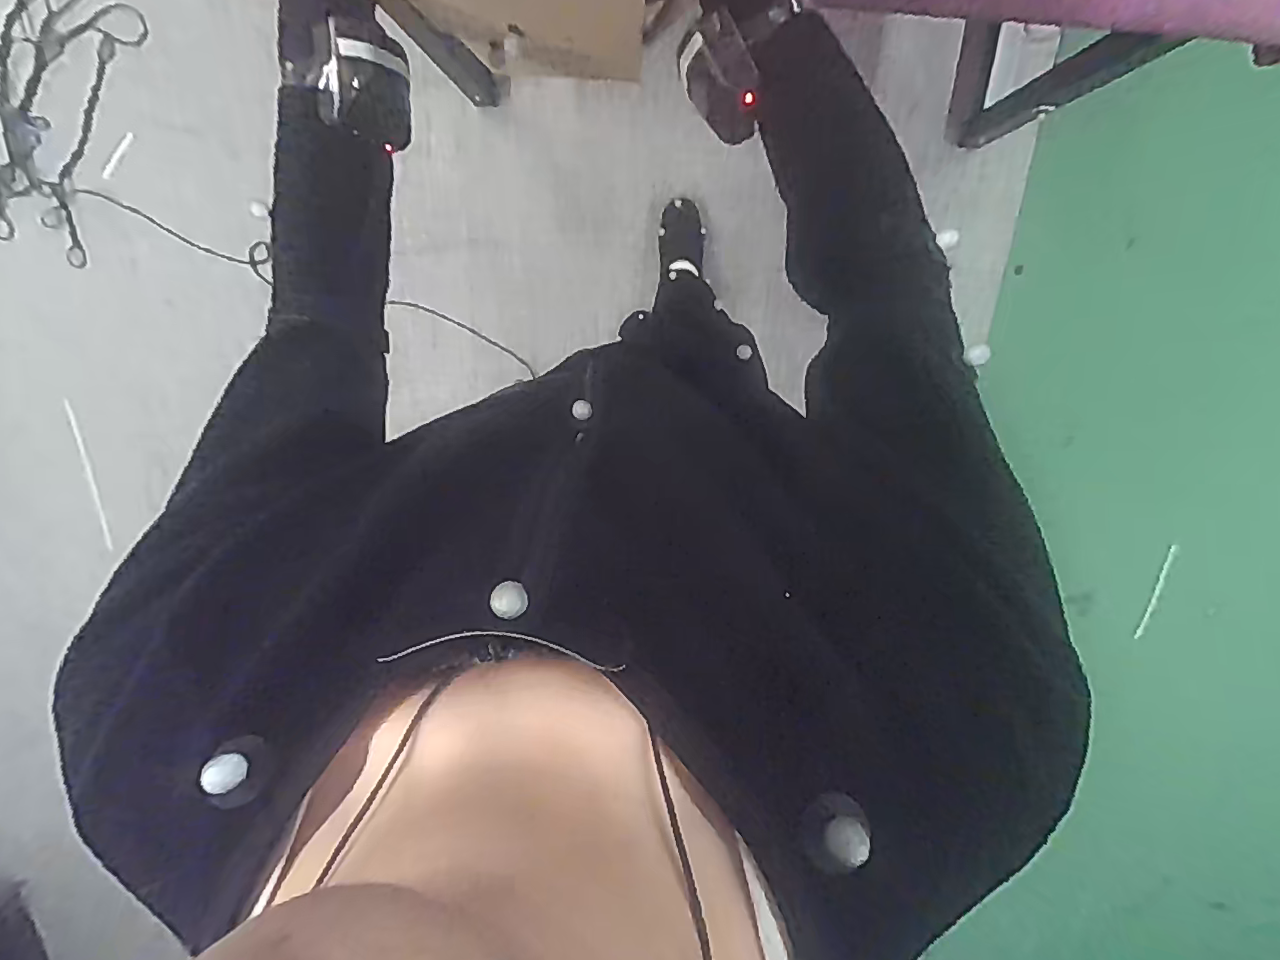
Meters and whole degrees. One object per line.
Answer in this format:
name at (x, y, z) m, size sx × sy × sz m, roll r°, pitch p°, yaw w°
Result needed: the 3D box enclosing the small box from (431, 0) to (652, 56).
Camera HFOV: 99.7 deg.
small box at (-0.068, -0.403, 0.339) m, size 0.168 × 0.176 × 0.179 m, roll 4°, pitch 117°, yaw -3°
